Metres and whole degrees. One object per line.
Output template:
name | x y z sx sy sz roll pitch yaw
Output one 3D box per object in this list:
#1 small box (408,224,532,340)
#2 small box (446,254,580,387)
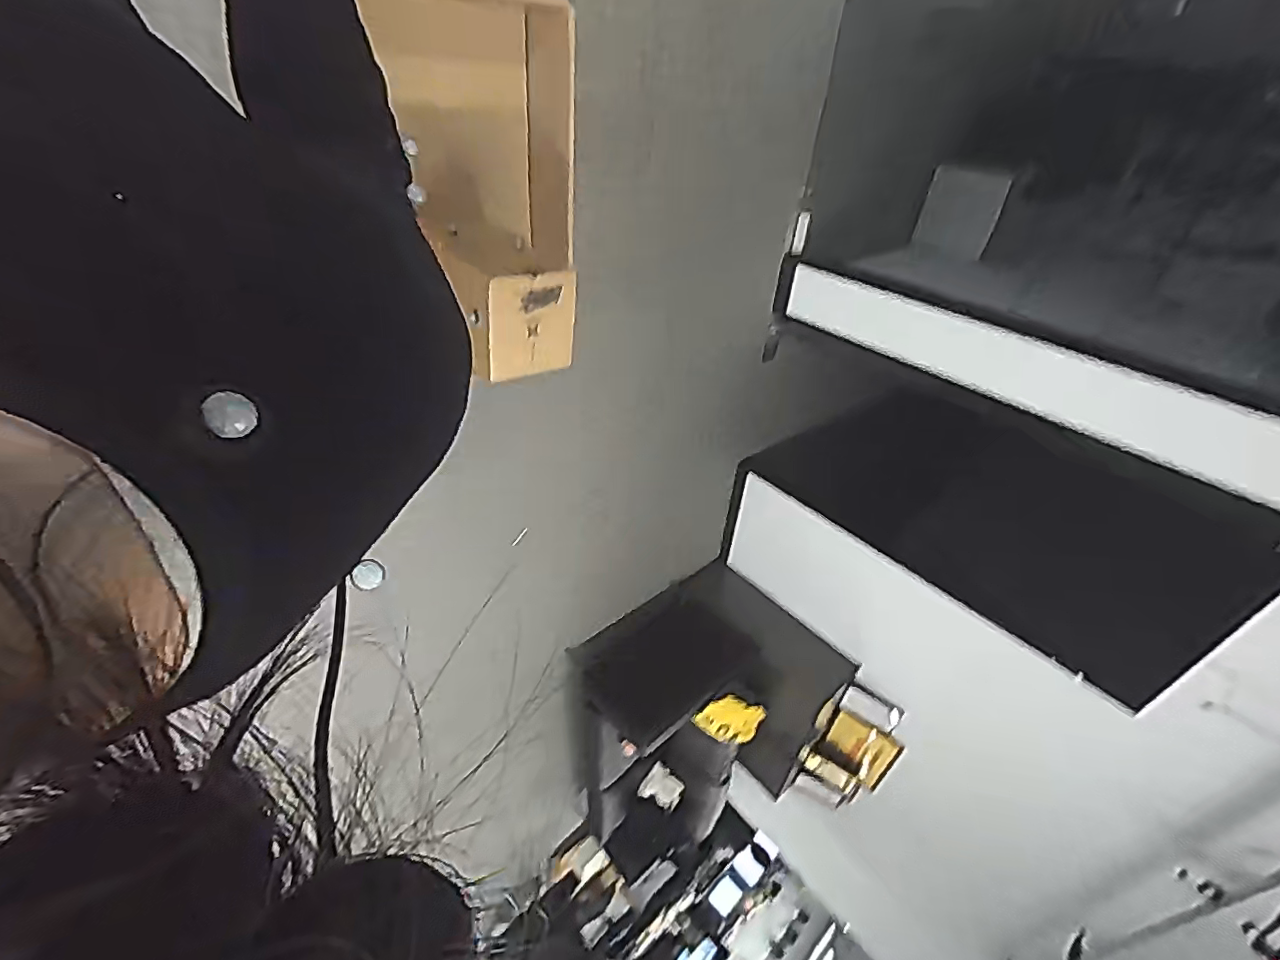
small box | -0.327 -0.379 1.028 0.179 0.176 0.168 -19 133 -38
small box | -0.224 -0.286 0.940 0.168 0.176 0.179 -21 134 -37
